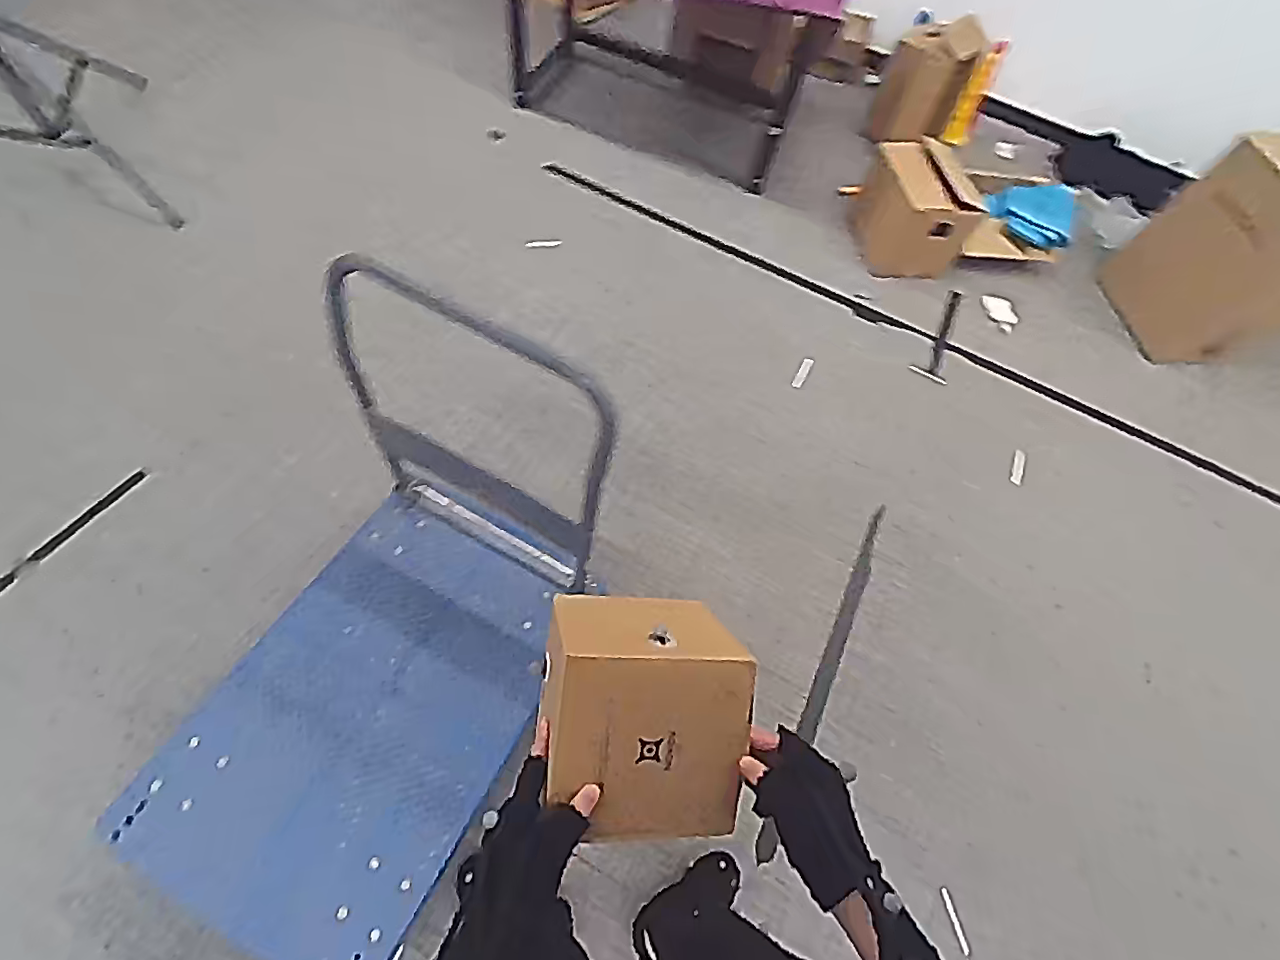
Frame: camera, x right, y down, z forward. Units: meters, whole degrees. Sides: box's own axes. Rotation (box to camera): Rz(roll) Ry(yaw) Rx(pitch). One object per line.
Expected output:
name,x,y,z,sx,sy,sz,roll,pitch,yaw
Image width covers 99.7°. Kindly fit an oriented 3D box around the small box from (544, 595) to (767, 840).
small box,0.002,0.223,0.544,0.179,0.176,0.168,7,94,-12
